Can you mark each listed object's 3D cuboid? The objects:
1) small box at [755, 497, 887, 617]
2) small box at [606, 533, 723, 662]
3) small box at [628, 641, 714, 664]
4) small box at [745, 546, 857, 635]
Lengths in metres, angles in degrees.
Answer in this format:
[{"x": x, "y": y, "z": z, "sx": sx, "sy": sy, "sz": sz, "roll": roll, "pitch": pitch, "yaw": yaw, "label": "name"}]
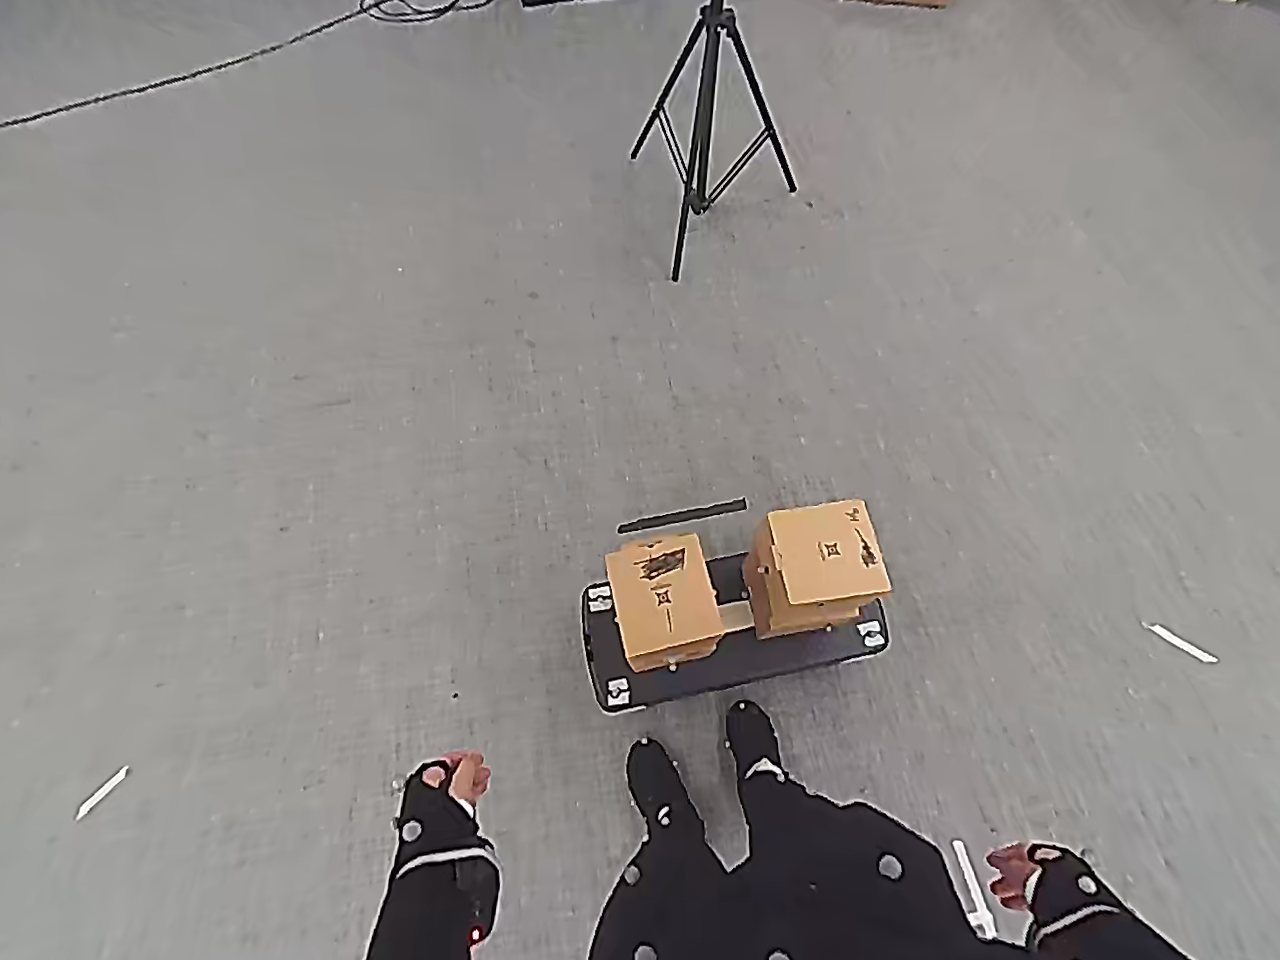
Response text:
[{"x": 0.315, "y": 0.147, "z": 0.988, "sx": 0.179, "sy": 0.176, "sz": 0.168, "roll": -9, "pitch": 68, "yaw": 0, "label": "small box"}, {"x": 0.038, "y": 0.214, "z": 0.965, "sx": 0.168, "sy": 0.176, "sz": 0.179, "roll": -13, "pitch": 68, "yaw": -4, "label": "small box"}, {"x": 0.045, "y": 0.280, "z": 1.115, "sx": 0.168, "sy": 0.176, "sz": 0.179, "roll": -12, "pitch": 68, "yaw": -3, "label": "small box"}, {"x": 0.320, "y": 0.224, "z": 1.132, "sx": 0.179, "sy": 0.176, "sz": 0.168, "roll": -9, "pitch": 68, "yaw": -1, "label": "small box"}]
